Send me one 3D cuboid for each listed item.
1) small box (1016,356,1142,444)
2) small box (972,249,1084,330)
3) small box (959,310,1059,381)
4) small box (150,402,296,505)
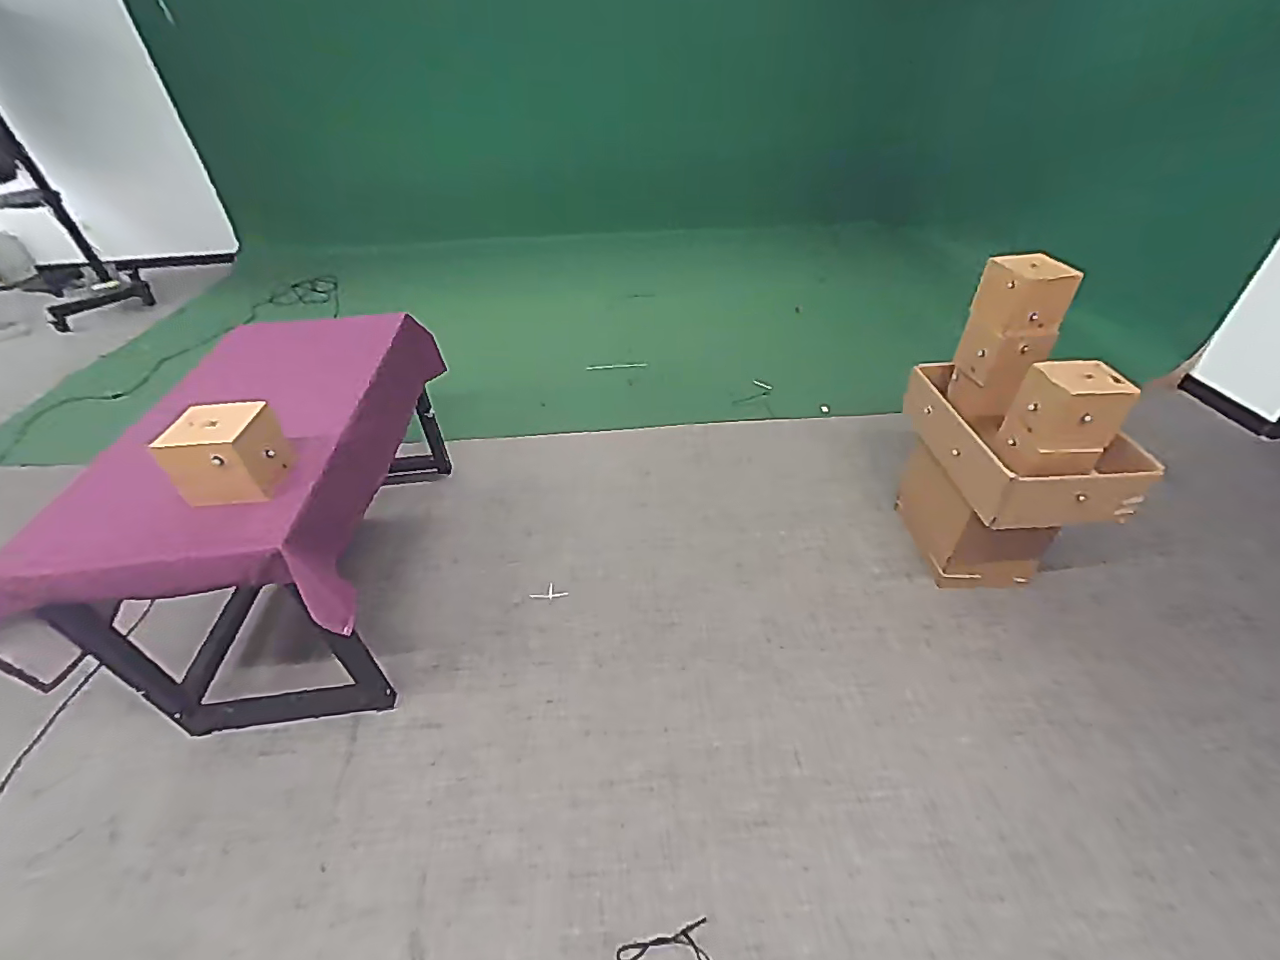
[{"bbox_3d":[1.122,-0.207,1.407,0.179,0.176,0.168,-2,41,3],"label":"small box"},{"bbox_3d":[1.106,-0.549,1.561,0.168,0.176,0.179,-7,42,-4],"label":"small box"},{"bbox_3d":[1.114,-0.416,1.656,0.179,0.176,0.168,-5,41,-3],"label":"small box"},{"bbox_3d":[-0.931,-0.059,1.233,0.179,0.176,0.168,-5,40,-1],"label":"small box"}]
